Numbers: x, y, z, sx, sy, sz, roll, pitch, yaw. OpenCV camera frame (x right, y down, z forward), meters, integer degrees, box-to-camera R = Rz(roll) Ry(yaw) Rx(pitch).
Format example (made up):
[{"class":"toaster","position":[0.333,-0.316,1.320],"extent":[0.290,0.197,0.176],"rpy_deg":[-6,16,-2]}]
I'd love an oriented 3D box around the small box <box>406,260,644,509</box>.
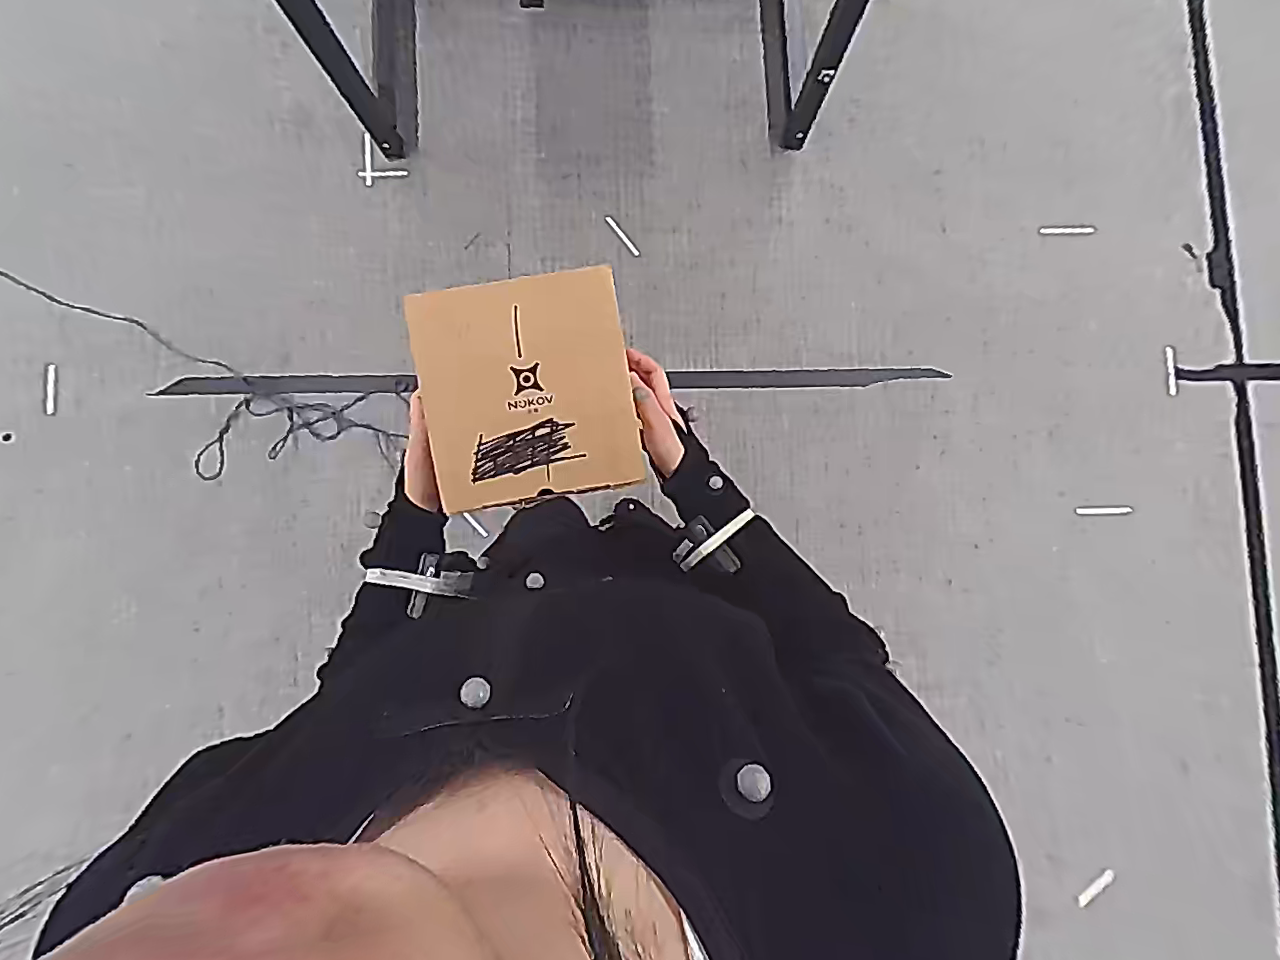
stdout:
[{"class":"small box","position":[-0.092,-0.078,0.503],"extent":[0.168,0.176,0.179],"rpy_deg":[-10,92,-3]}]
